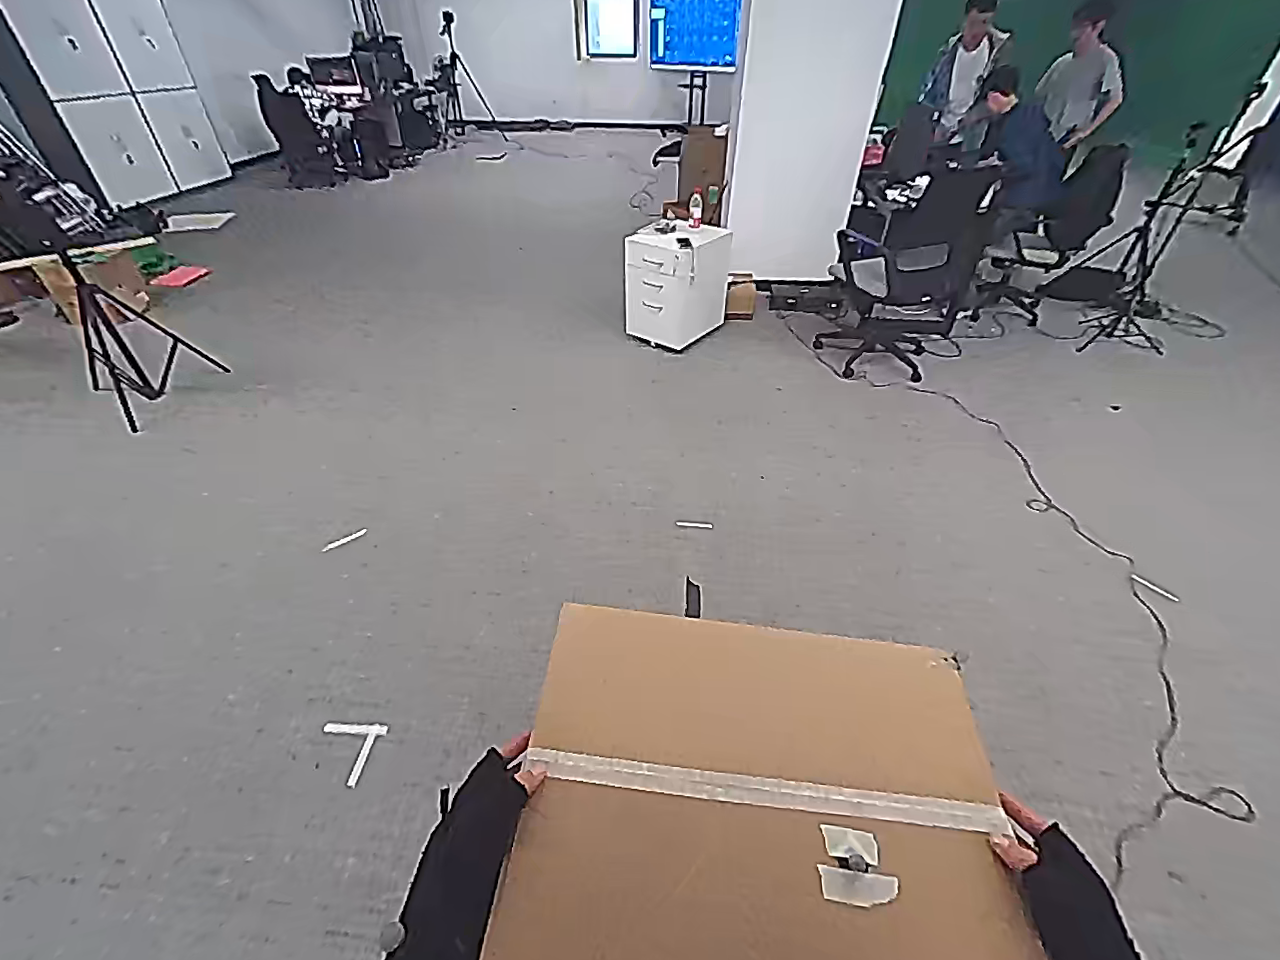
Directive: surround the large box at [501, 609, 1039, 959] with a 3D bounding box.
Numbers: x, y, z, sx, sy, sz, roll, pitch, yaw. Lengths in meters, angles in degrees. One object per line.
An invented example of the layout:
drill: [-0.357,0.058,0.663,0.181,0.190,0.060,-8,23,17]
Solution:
large box: [0.096,0.368,0.578,0.408,0.320,0.320,6,46,1]
